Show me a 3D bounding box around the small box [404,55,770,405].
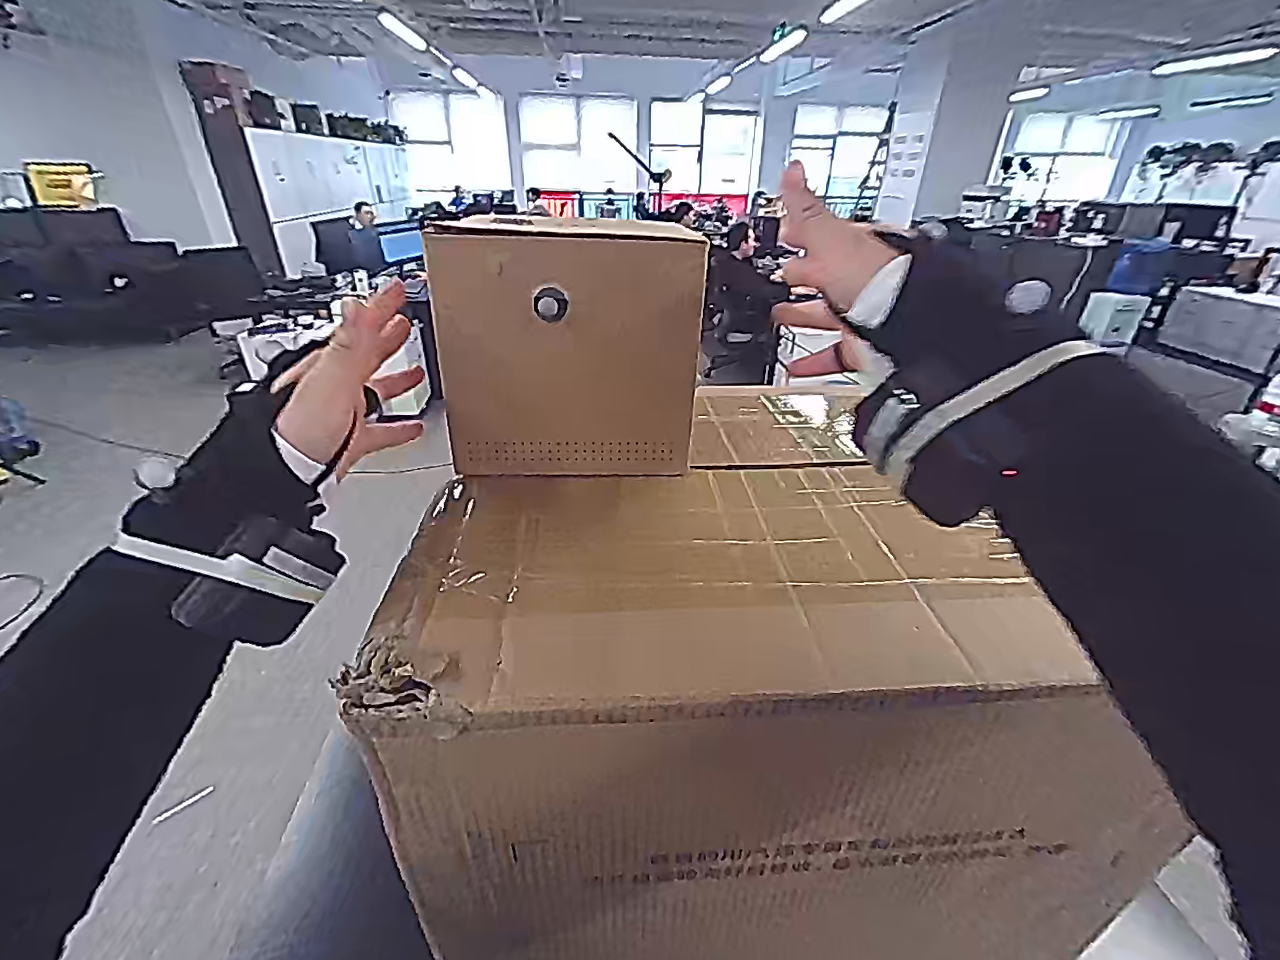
[{"bbox_3d":[-0.030,-0.154,0.358,0.179,0.176,0.168,0,28,-5],"label":"small box"}]
